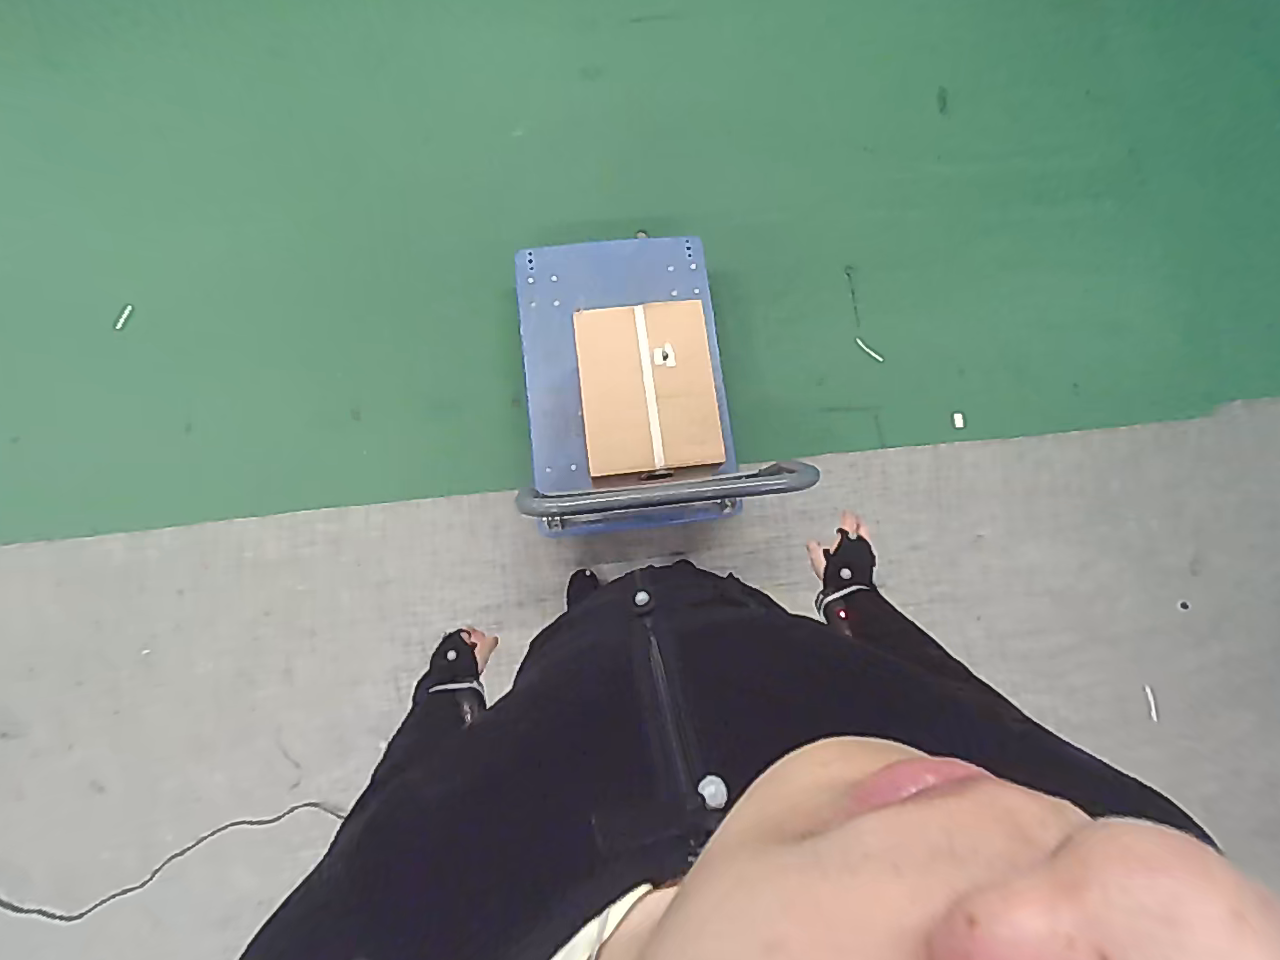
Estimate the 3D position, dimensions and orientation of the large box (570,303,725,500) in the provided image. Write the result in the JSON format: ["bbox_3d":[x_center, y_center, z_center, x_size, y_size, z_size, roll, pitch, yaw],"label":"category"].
[{"bbox_3d":[0.008,-0.186,1.397,0.320,0.320,0.408,-7,79,-5],"label":"large box"}]
